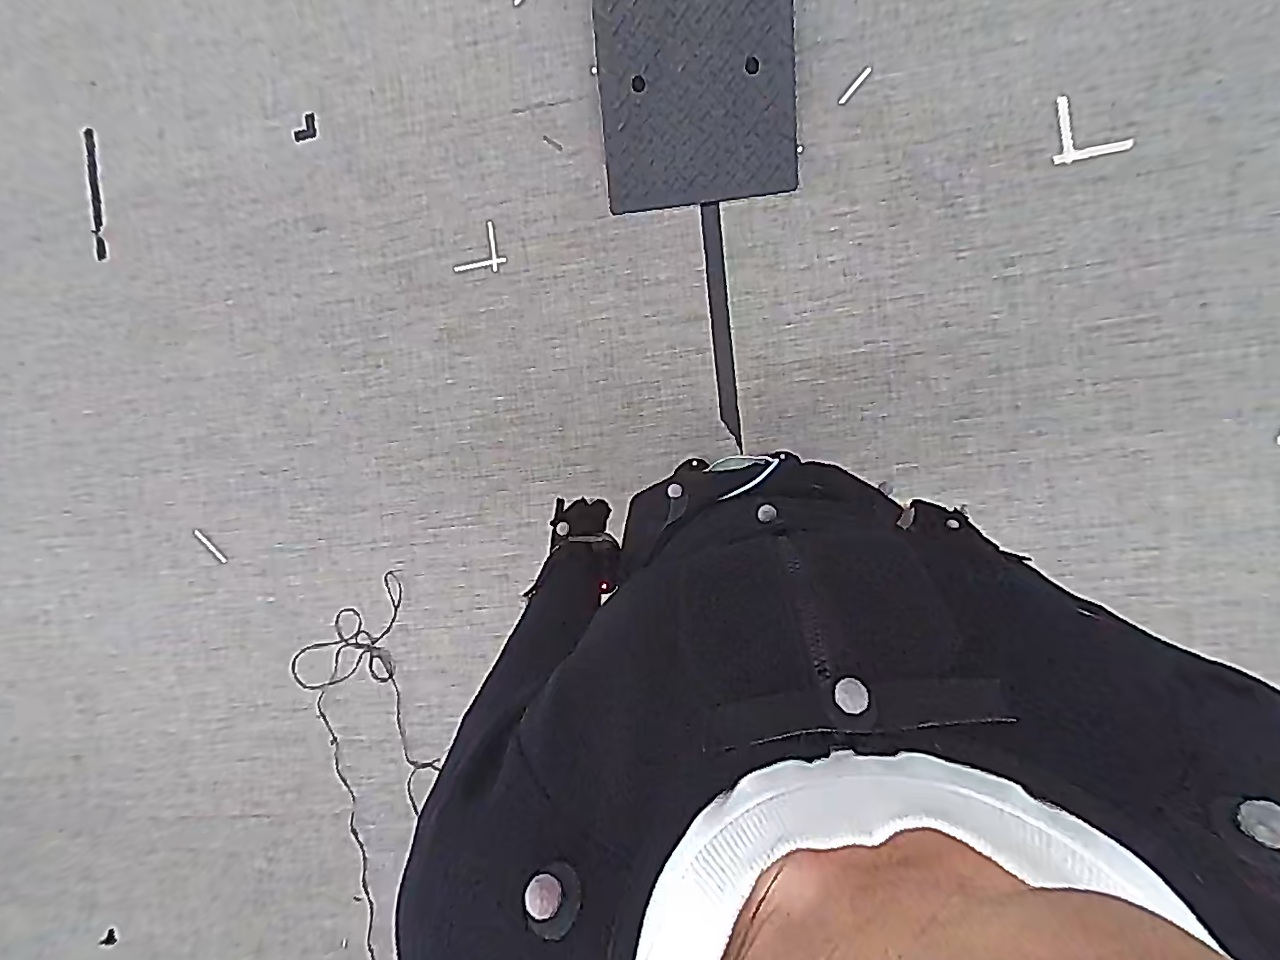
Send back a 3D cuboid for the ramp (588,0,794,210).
[{"bbox_3d":[0.110,-1.223,1.312,0.509,0.206,0.991,-6,92,7],"label":"ramp"}]
